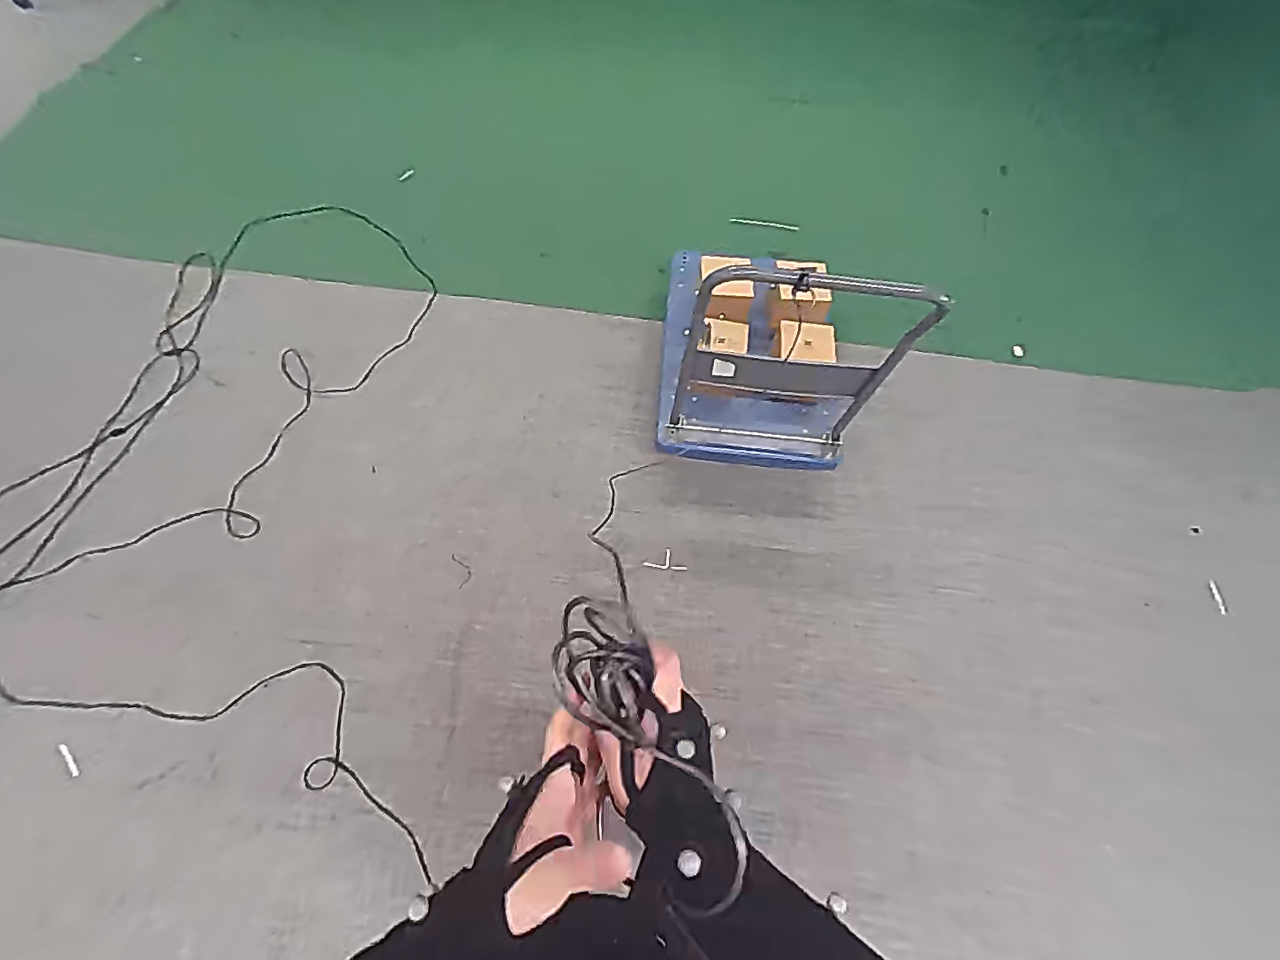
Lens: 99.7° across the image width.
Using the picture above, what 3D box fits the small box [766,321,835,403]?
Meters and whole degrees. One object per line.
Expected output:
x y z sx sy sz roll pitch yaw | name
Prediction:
0.501 -0.369 1.710 0.168 0.176 0.179 7 63 0 | small box

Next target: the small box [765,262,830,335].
0.527 -0.608 1.834 0.168 0.176 0.179 3 64 -2 | small box

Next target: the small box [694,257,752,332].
0.275 -0.620 1.823 0.168 0.176 0.179 4 63 -3 | small box
